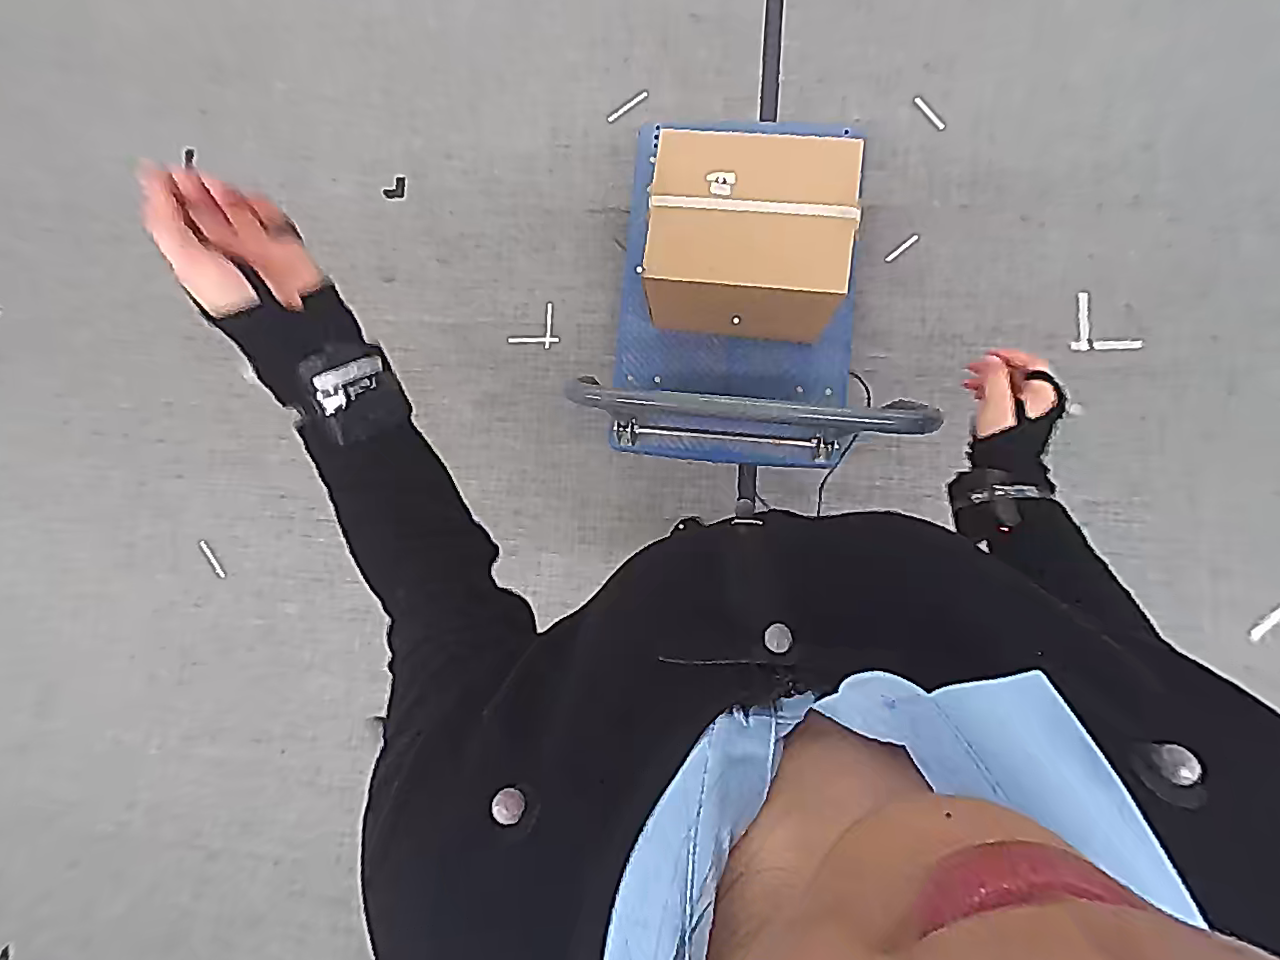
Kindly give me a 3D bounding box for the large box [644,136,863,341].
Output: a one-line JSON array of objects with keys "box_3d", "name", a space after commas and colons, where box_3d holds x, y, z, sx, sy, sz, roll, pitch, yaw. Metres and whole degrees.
[{"box_3d": [0.240, -0.514, 1.206, 0.408, 0.320, 0.320, 7, 86, 8], "name": "large box"}]
